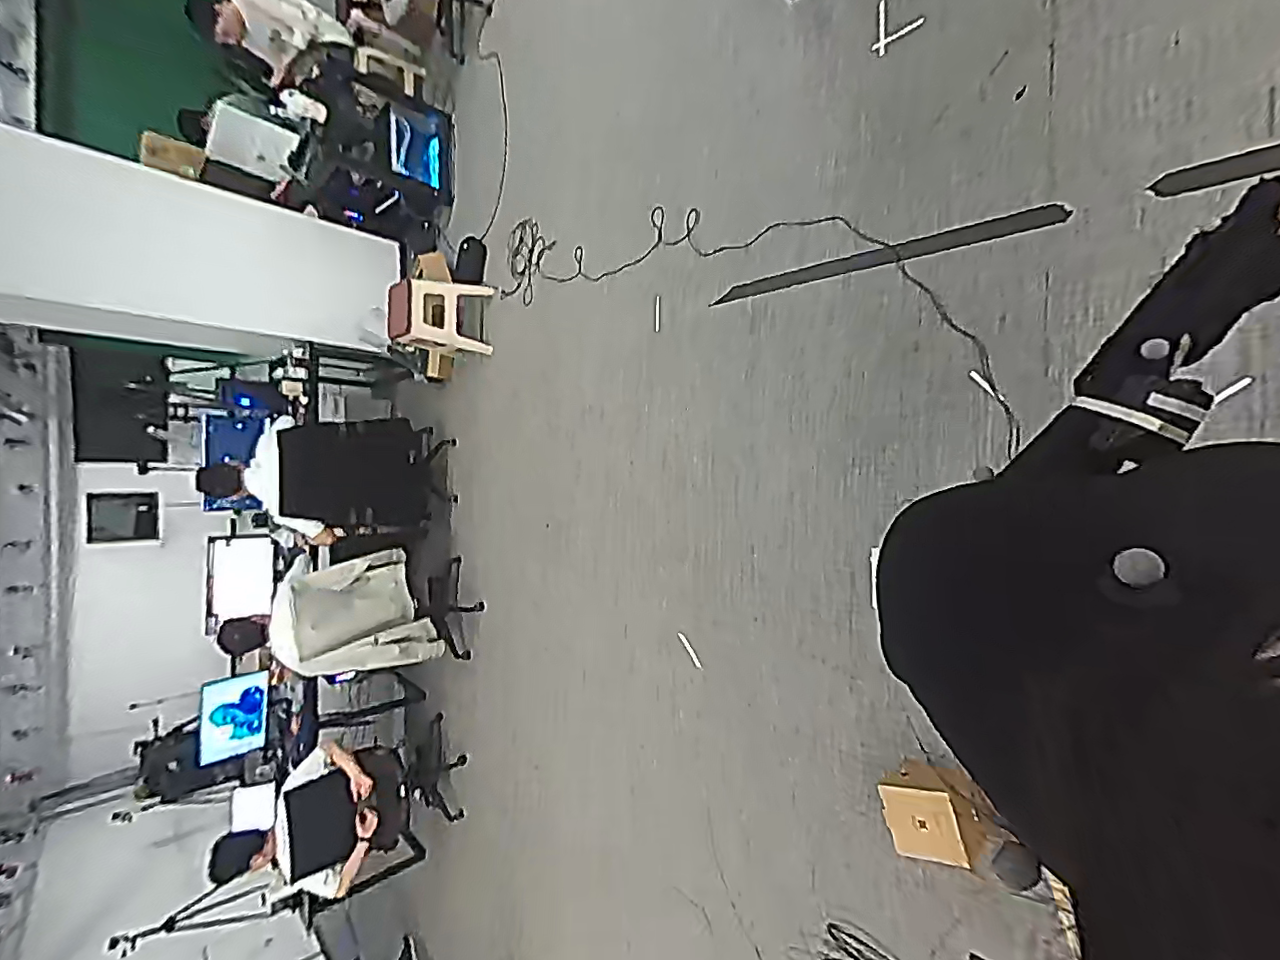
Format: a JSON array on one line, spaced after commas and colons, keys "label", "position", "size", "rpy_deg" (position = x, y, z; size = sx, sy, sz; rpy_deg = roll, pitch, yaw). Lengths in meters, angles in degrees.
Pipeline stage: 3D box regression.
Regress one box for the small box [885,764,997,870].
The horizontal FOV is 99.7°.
[{"label": "small box", "position": [0.748, 0.825, 1.346], "size": [0.179, 0.176, 0.168], "rpy_deg": [-24, 73, 44]}]
